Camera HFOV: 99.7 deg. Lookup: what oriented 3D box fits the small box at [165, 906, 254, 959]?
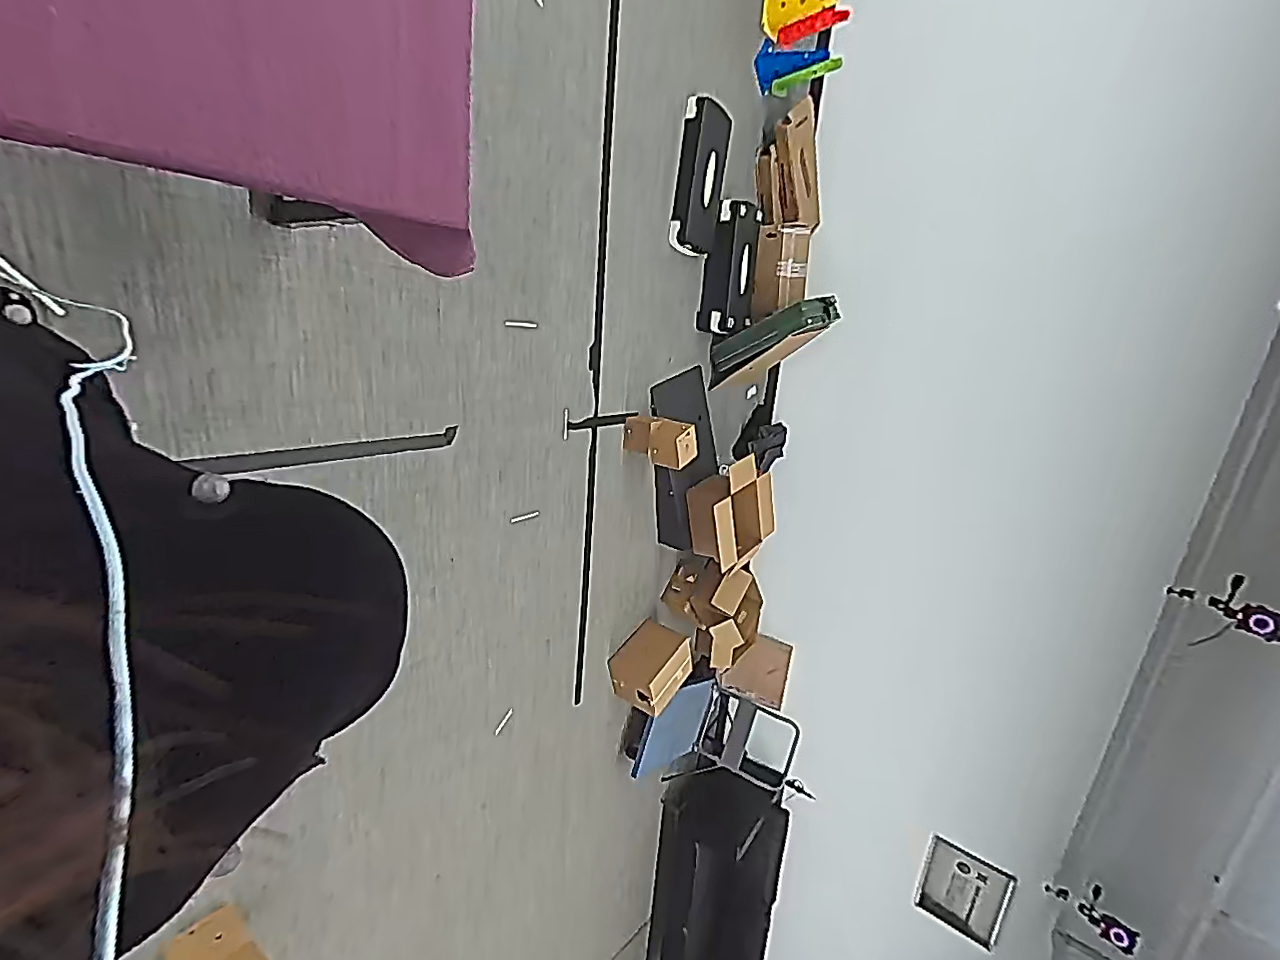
[{"bbox_3d":[-1.281,1.428,1.612,0.168,0.176,0.179,-15,117,-53],"label":"small box"}]
